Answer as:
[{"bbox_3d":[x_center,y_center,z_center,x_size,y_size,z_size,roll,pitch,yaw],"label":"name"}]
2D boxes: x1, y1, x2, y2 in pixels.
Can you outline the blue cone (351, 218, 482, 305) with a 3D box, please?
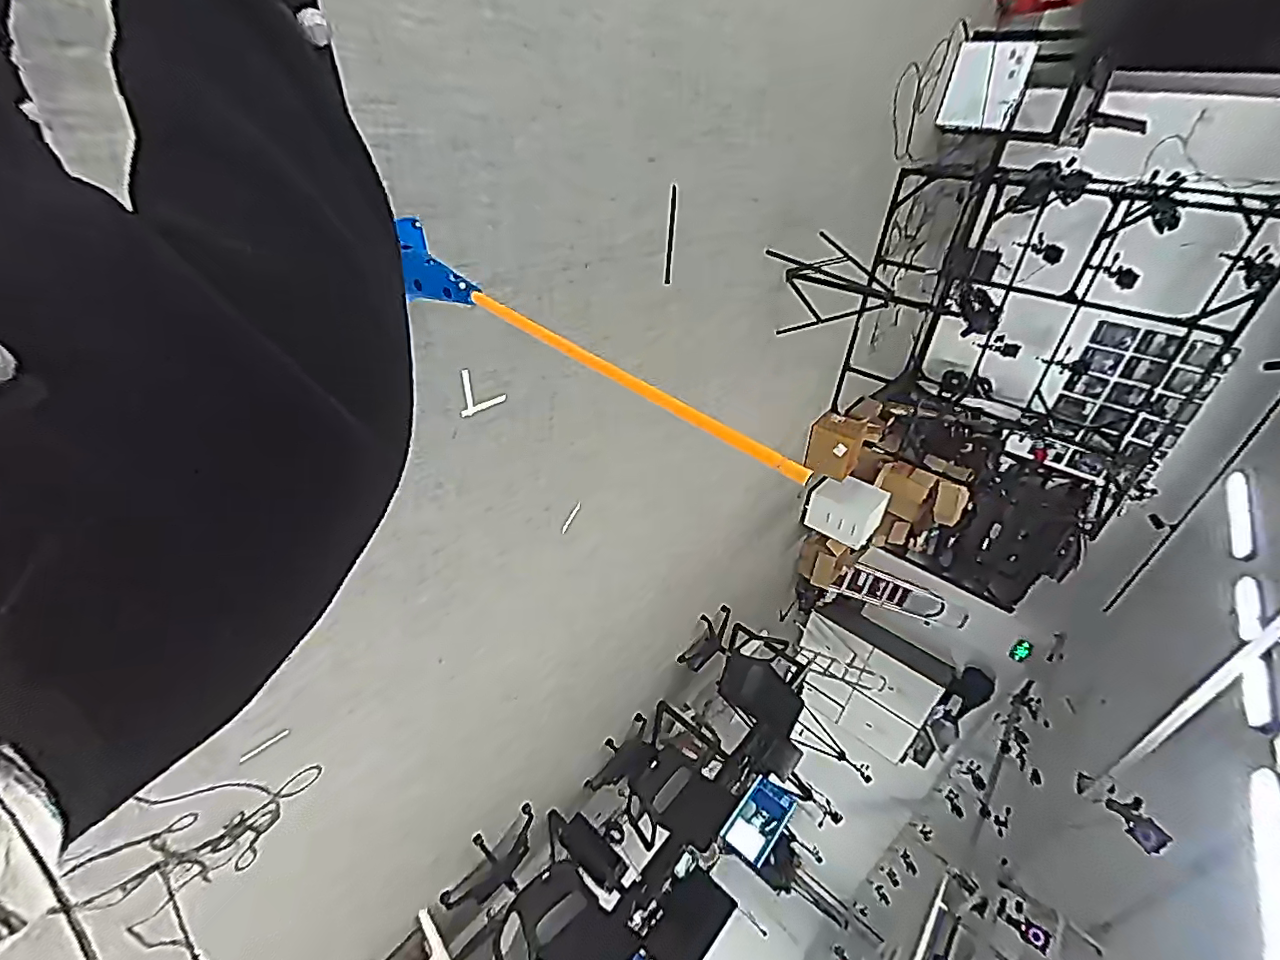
[{"bbox_3d":[-0.502,-0.490,1.297,0.193,0.380,0.192,-34,139,-38],"label":"blue cone"}]
